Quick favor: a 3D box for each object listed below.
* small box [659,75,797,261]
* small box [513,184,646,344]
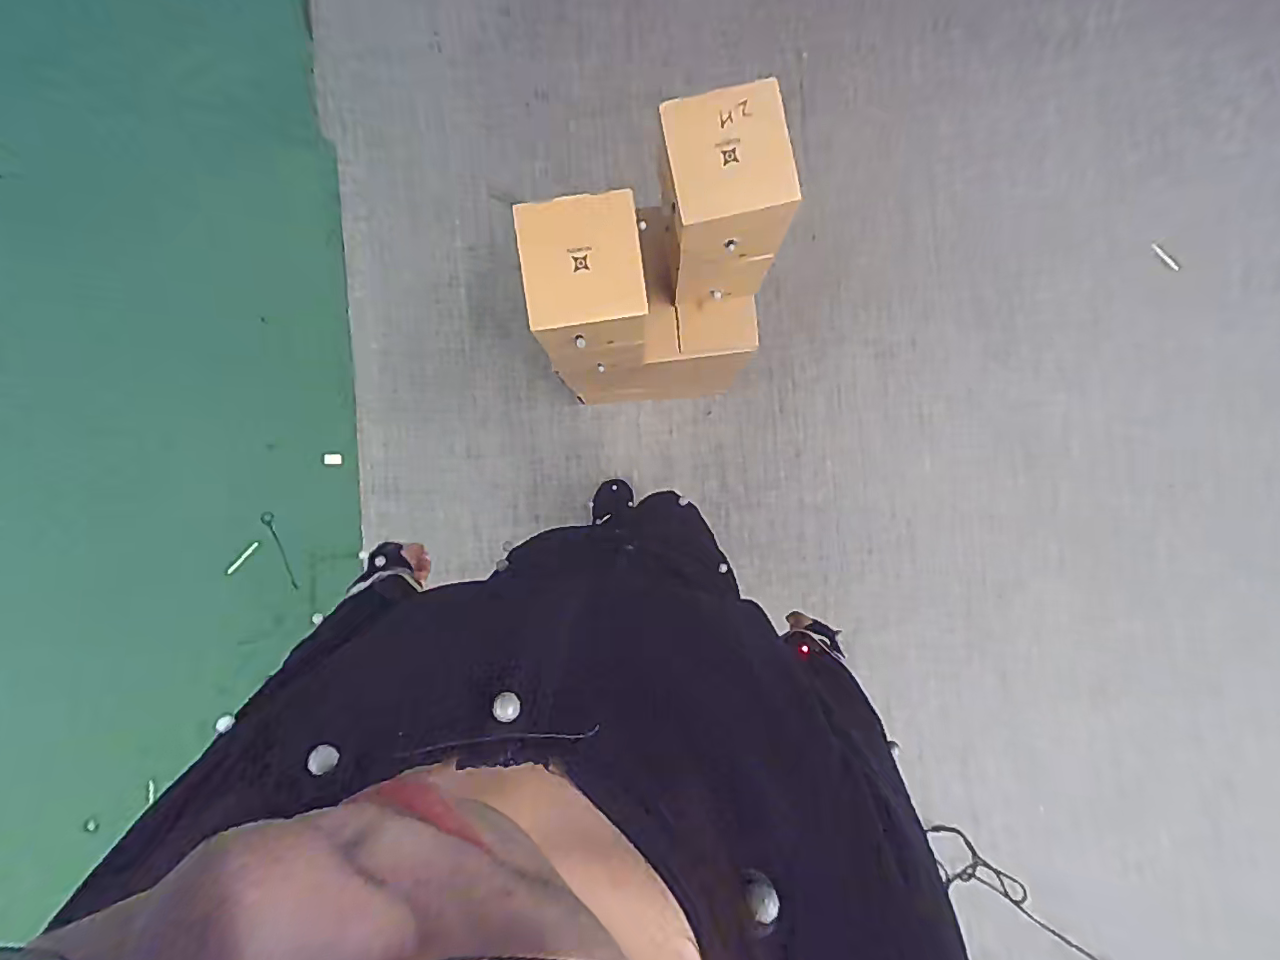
[{"bbox_3d":[0.125,-0.450,0.814,0.168,0.176,0.179,-10,90,2],"label":"small box"},{"bbox_3d":[-0.081,-0.312,0.821,0.168,0.176,0.179,-8,92,0],"label":"small box"}]
